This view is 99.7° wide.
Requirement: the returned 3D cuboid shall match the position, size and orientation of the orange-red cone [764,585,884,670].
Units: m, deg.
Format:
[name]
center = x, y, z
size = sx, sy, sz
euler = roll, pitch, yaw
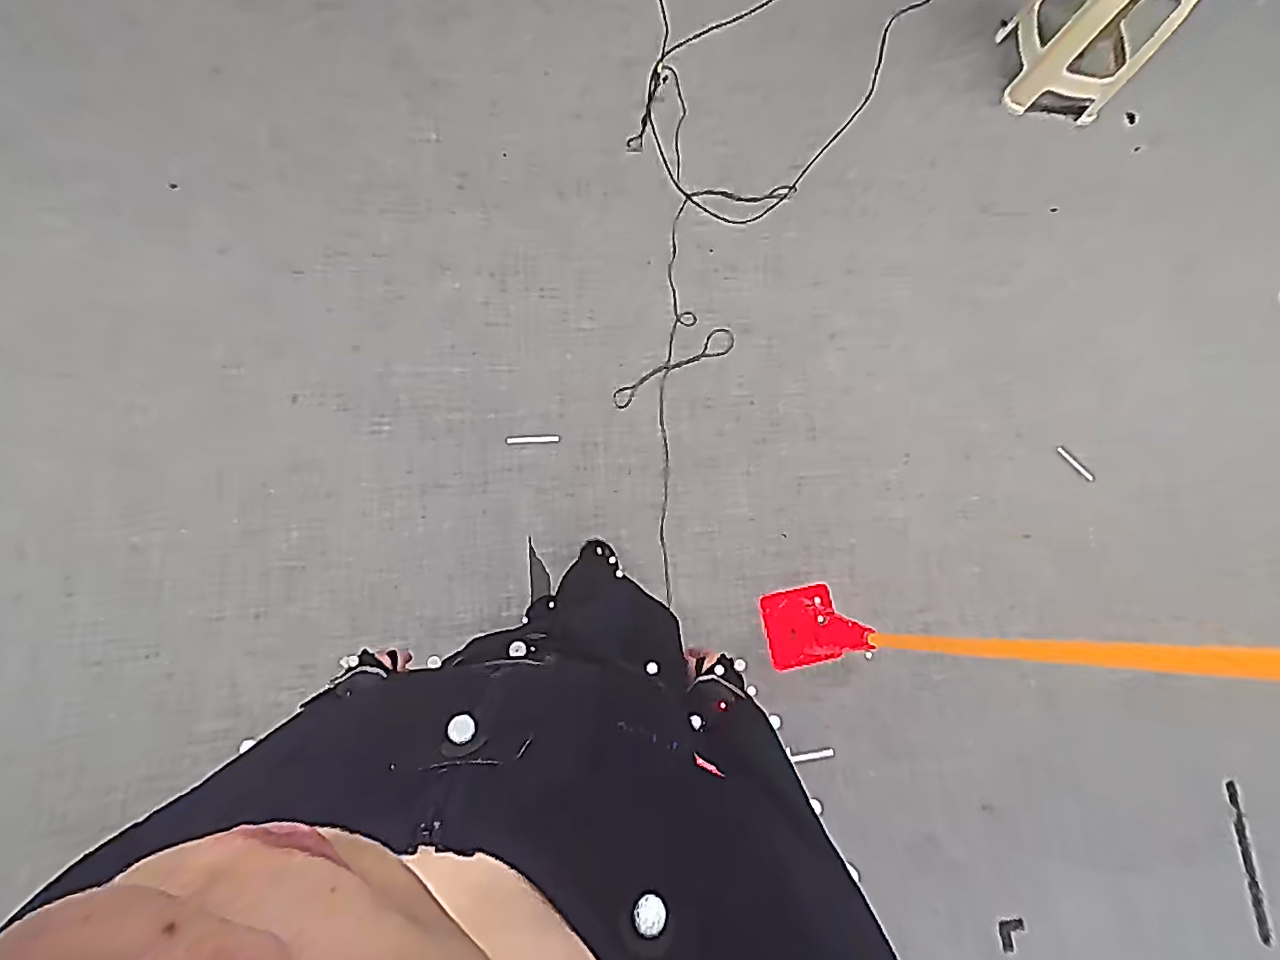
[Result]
[orange-red cone]
center = 0.449, 0.350, 1.246
size = 0.199, 0.360, 0.198
euler = -9, 79, -7
